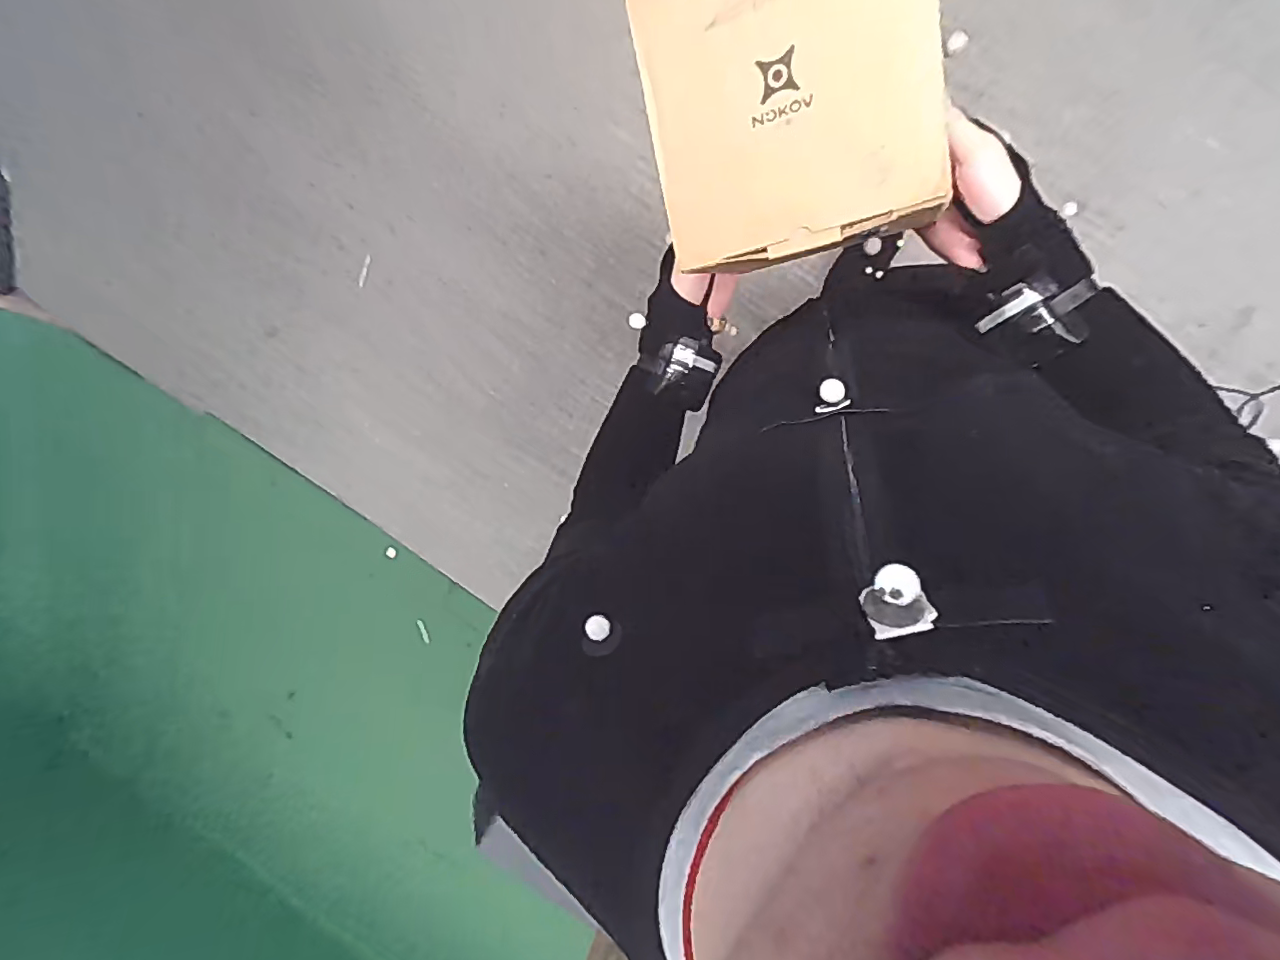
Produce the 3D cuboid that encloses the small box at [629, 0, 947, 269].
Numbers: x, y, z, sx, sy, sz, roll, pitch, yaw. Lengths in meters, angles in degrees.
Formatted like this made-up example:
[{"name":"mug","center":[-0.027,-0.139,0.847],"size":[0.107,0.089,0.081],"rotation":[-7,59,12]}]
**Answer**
[{"name":"small box","center":[0.113,-0.258,0.380],"size":[0.168,0.176,0.179],"rotation":[-6,106,26]}]
